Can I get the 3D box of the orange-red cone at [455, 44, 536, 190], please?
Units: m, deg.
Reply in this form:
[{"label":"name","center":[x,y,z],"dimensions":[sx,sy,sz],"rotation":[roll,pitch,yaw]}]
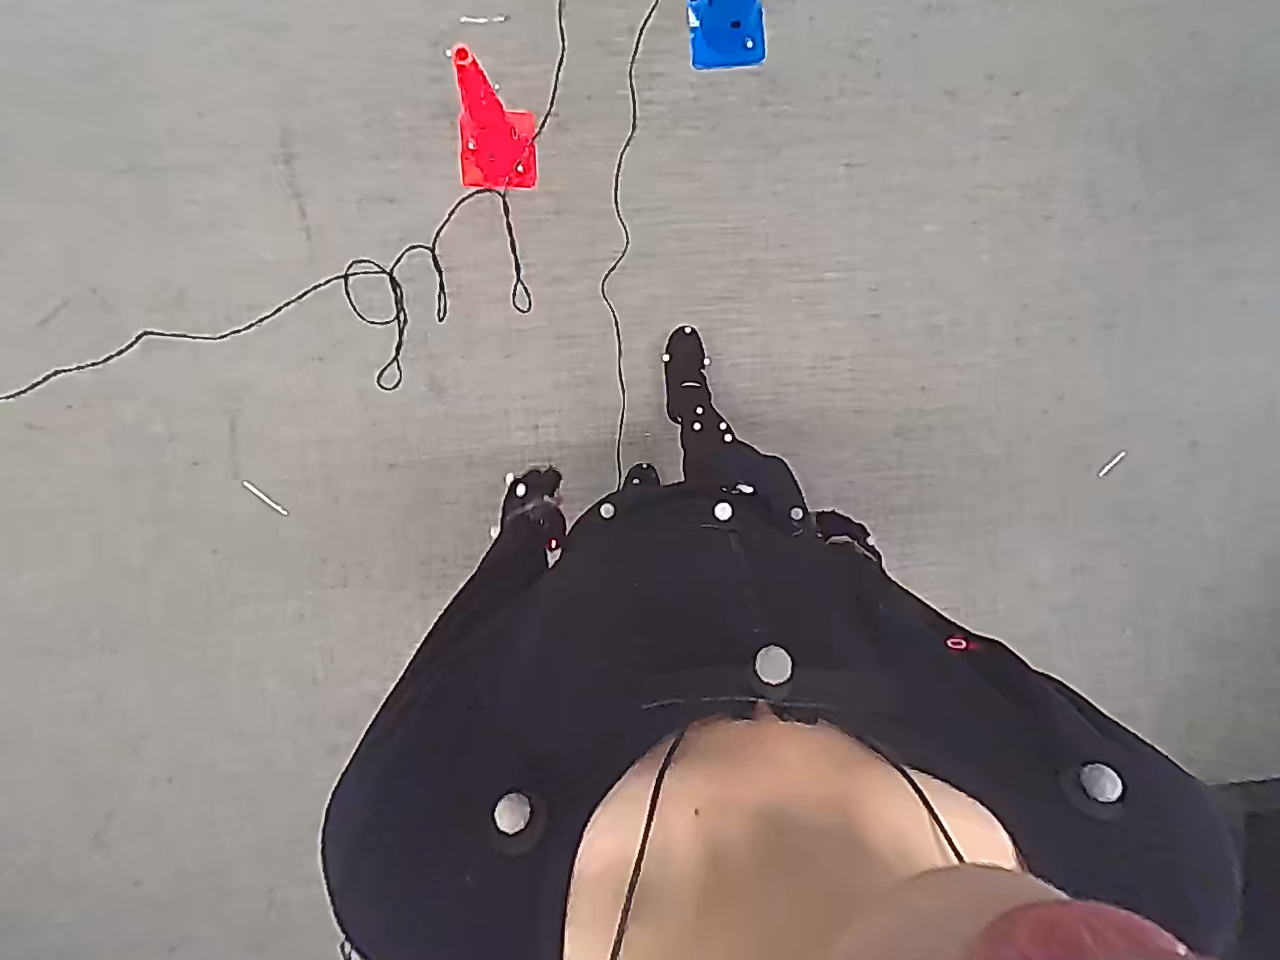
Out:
[{"label":"orange-red cone","center":[-0.365,-0.866,1.257],"dimensions":[0.198,0.360,0.199],"rotation":[0,92,-3]}]
